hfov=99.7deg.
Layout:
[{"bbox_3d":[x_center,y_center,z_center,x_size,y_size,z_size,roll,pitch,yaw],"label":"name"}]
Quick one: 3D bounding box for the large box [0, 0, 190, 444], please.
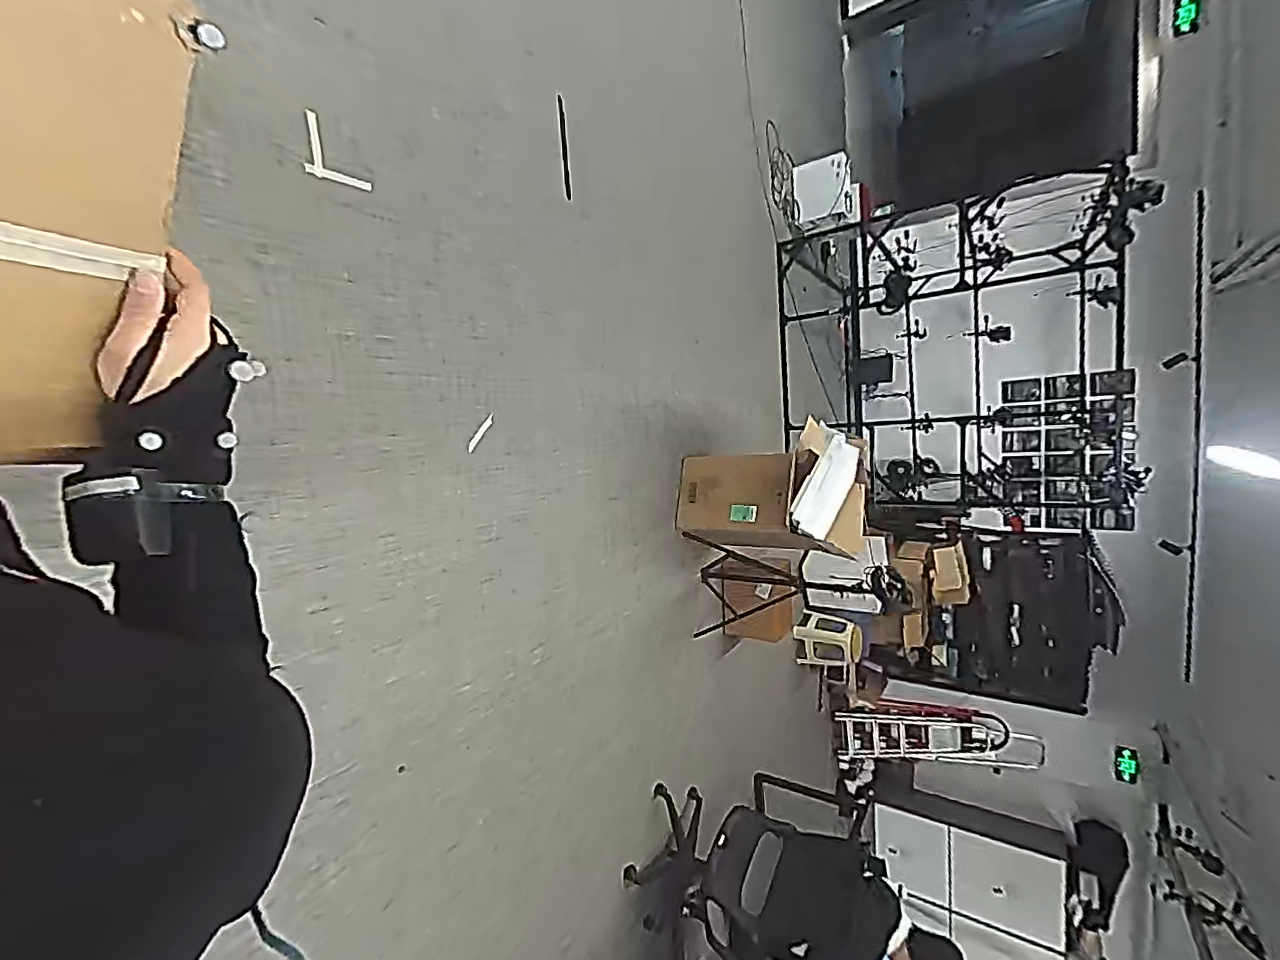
[{"bbox_3d":[-0.543,-0.227,0.272,0.408,0.320,0.320,-5,132,-55],"label":"large box"}]
